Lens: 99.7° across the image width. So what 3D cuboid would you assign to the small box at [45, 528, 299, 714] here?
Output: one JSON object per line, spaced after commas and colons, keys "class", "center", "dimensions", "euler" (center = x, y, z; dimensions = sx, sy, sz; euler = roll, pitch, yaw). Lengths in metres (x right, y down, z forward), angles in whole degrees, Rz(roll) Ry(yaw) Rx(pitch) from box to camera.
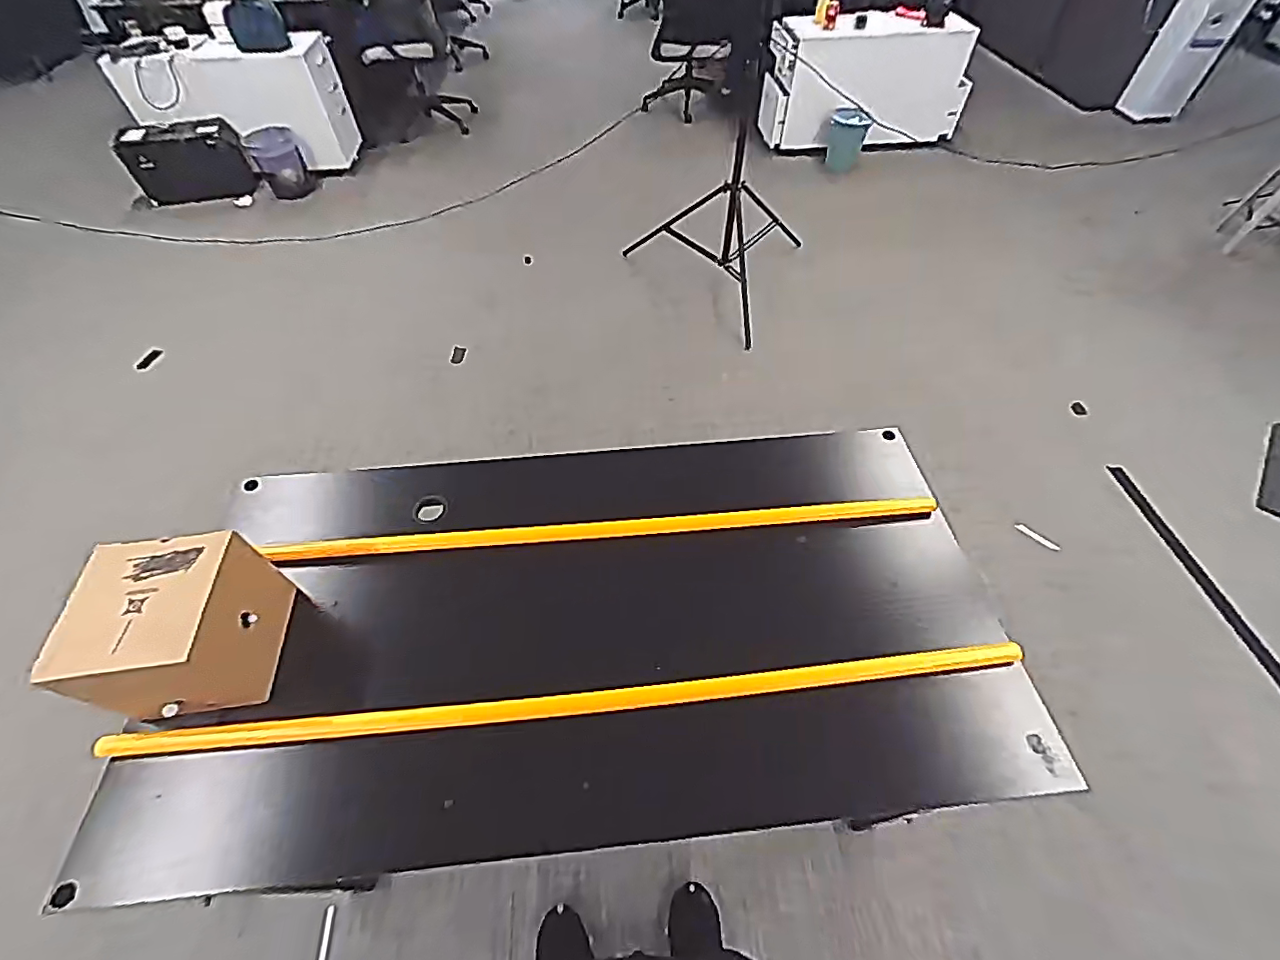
{"class": "small box", "center": [-0.585, 0.187, 0.713], "dimensions": [0.168, 0.176, 0.179], "euler": [-7, 54, -5]}
